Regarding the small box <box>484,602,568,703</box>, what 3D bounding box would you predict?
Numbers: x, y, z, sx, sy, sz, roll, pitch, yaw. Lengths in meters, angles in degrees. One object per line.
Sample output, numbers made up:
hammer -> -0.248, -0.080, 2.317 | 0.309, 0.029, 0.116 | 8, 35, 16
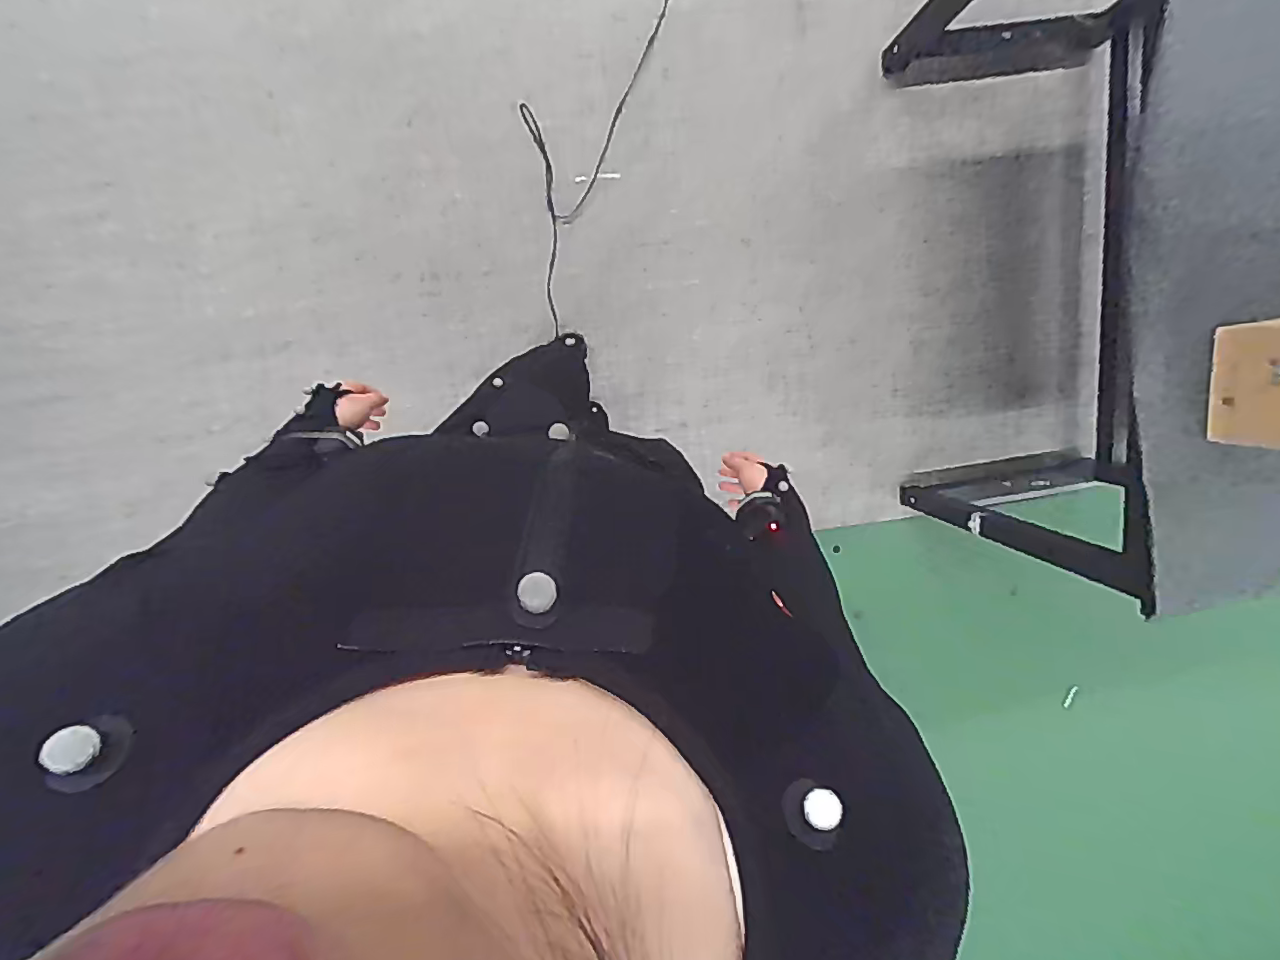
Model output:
small box -> -0.299, 0.460, 1.462 | 0.168, 0.176, 0.179 | -17, 102, -1

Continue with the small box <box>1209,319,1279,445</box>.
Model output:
small box -> 0.922, -0.136, 0.716 | 0.179, 0.176, 0.168 | -9, 101, -5
